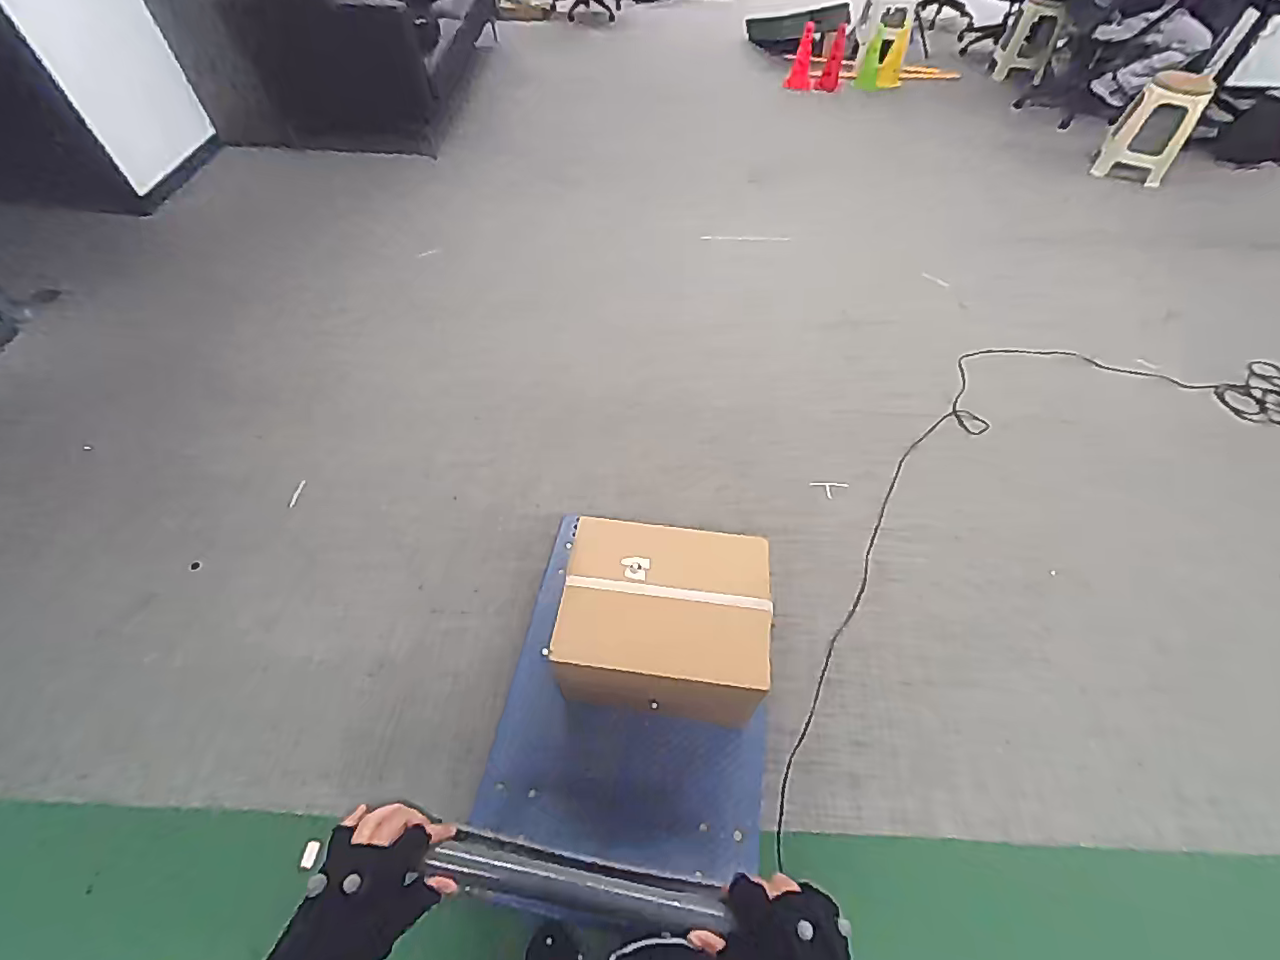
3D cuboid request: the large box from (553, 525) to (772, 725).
[{"bbox_3d":[0.057,0.322,1.177,0.408,0.320,0.320,6,53,5],"label":"large box"}]
